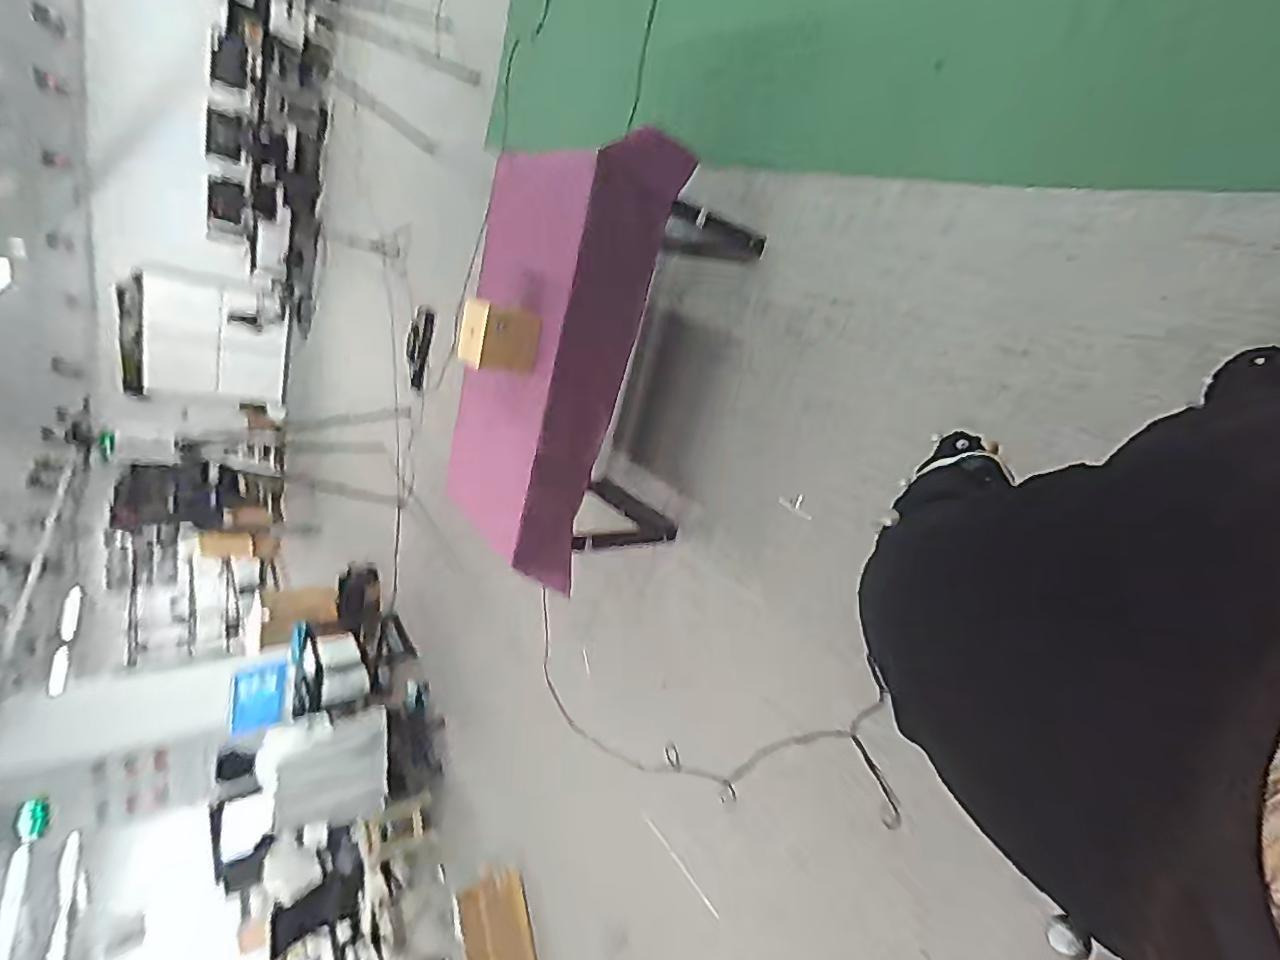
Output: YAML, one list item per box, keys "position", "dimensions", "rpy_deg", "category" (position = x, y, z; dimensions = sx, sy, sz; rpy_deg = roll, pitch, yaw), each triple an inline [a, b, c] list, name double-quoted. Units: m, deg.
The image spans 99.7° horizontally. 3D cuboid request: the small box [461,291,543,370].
- position: [-0.405, -0.439, 1.597]
  dimensions: [0.168, 0.176, 0.179]
  rpy_deg: [33, 114, 45]
  category: "small box"
